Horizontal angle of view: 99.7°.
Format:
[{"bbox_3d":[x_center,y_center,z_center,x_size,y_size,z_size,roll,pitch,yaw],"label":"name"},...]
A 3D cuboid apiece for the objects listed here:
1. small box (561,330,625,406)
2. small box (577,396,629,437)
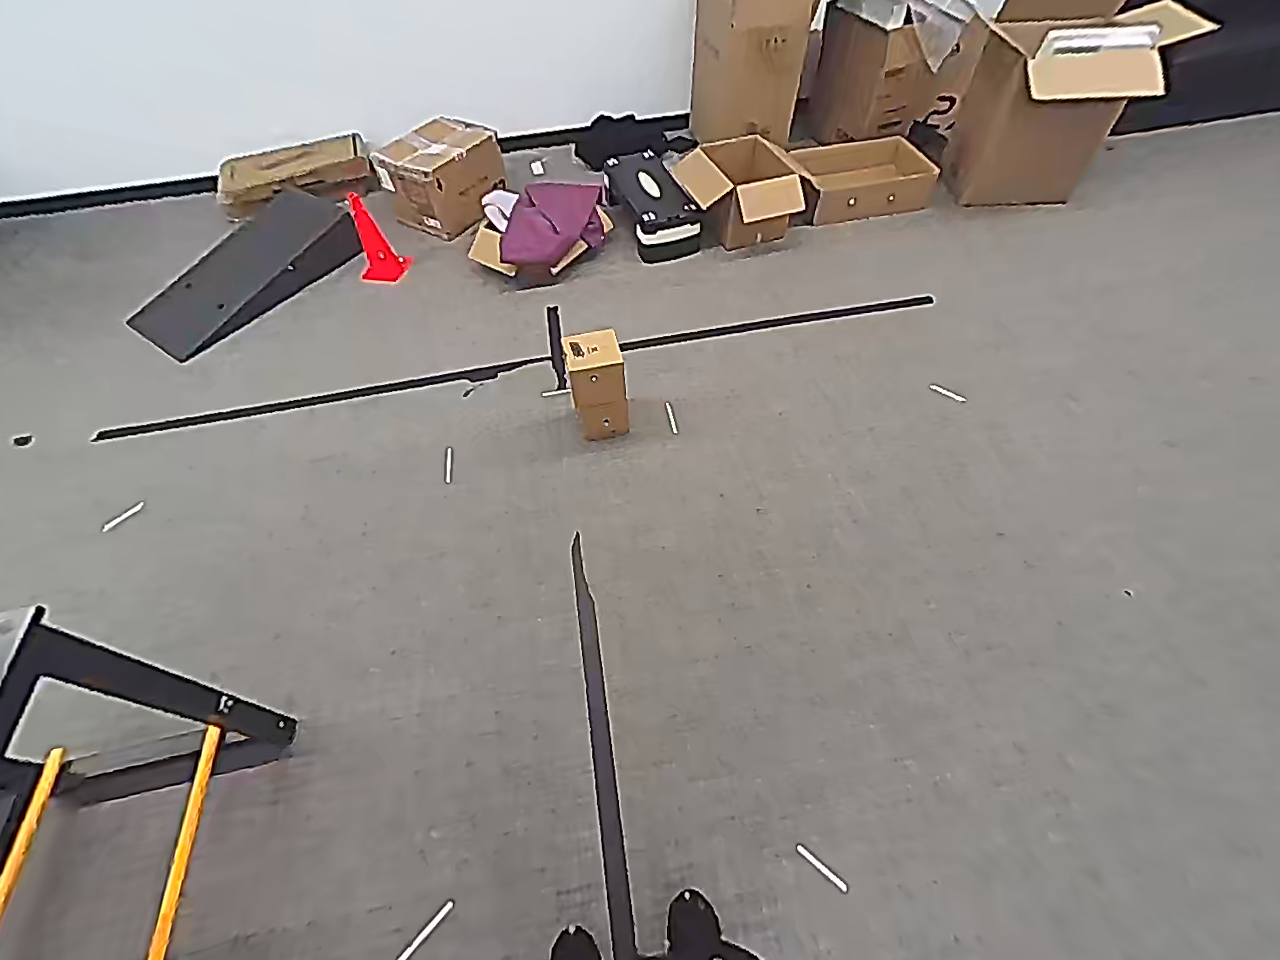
[{"bbox_3d":[-0.151,-0.360,1.763,0.179,0.176,0.168,-12,55,-6],"label":"small box"},{"bbox_3d":[-0.139,-0.267,1.901,0.168,0.176,0.179,-12,55,-6],"label":"small box"}]
